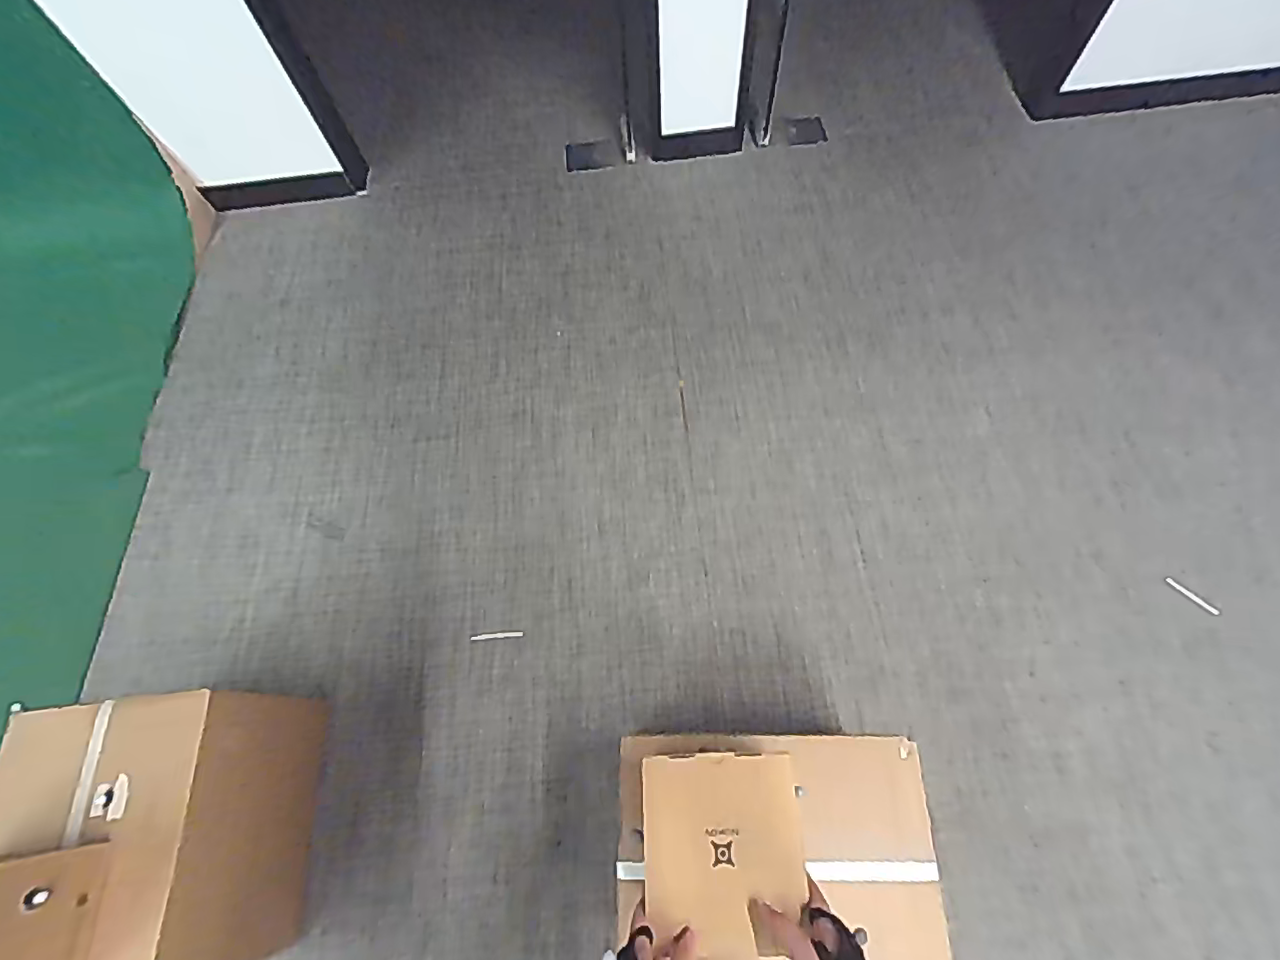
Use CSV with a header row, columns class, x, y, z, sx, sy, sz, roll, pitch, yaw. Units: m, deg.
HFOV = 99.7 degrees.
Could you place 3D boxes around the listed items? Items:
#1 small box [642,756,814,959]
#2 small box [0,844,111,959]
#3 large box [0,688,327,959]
class,x,y,z,sx,sy,sz,roll,pitch,yaw
small box,0.092,0.422,0.625,0.168,0.176,0.179,-4,60,4
small box,-0.794,0.545,0.633,0.179,0.176,0.168,-8,64,1
large box,-0.770,0.583,0.883,0.320,0.320,0.408,-7,64,0
